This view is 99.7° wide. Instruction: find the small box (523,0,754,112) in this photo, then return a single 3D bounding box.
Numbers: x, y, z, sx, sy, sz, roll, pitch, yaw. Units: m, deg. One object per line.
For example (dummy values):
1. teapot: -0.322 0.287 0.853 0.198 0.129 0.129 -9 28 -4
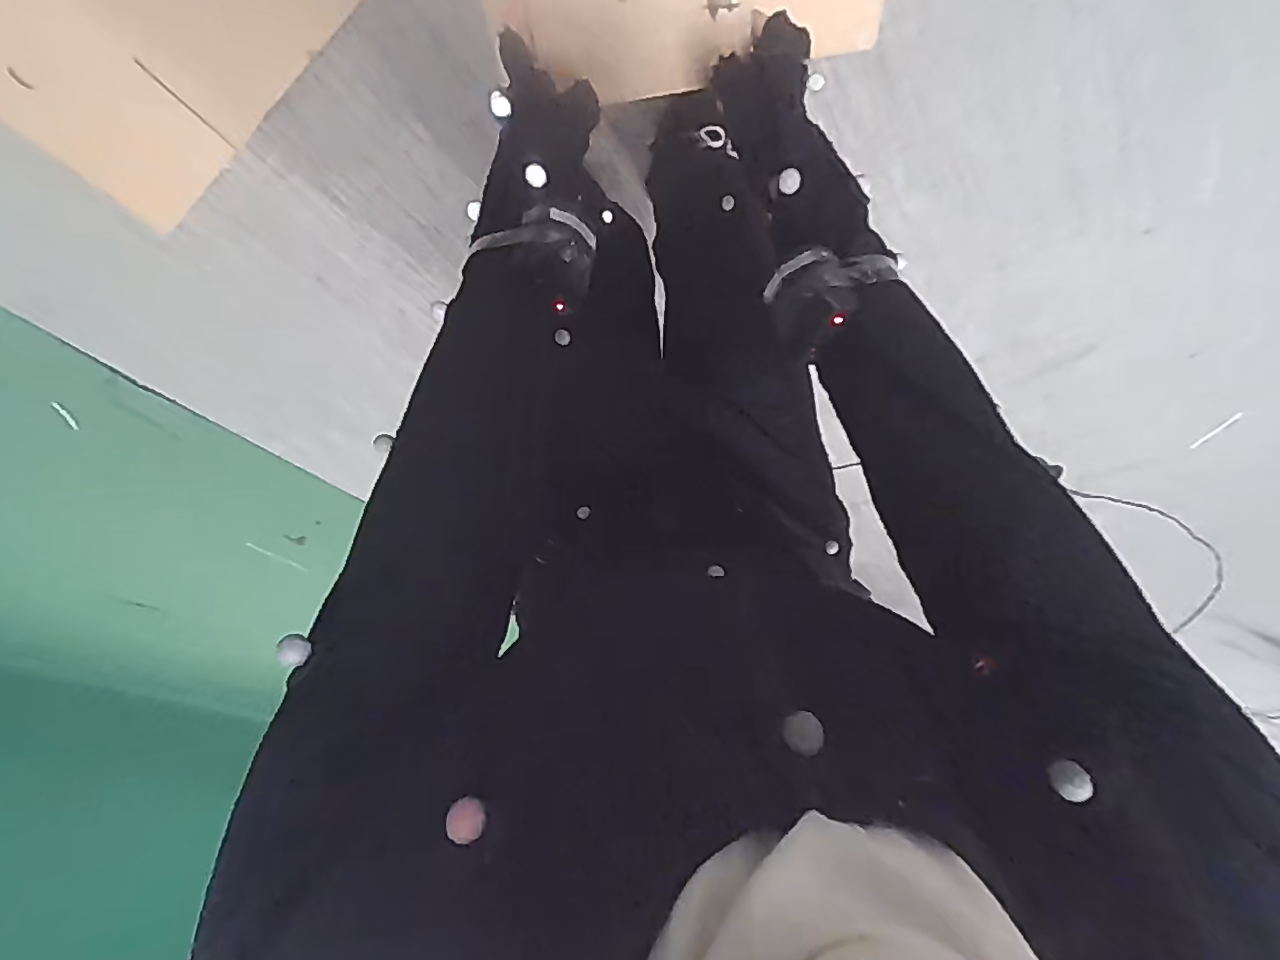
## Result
1. small box: -0.001 -0.441 0.452 0.179 0.176 0.168 -5 138 11
